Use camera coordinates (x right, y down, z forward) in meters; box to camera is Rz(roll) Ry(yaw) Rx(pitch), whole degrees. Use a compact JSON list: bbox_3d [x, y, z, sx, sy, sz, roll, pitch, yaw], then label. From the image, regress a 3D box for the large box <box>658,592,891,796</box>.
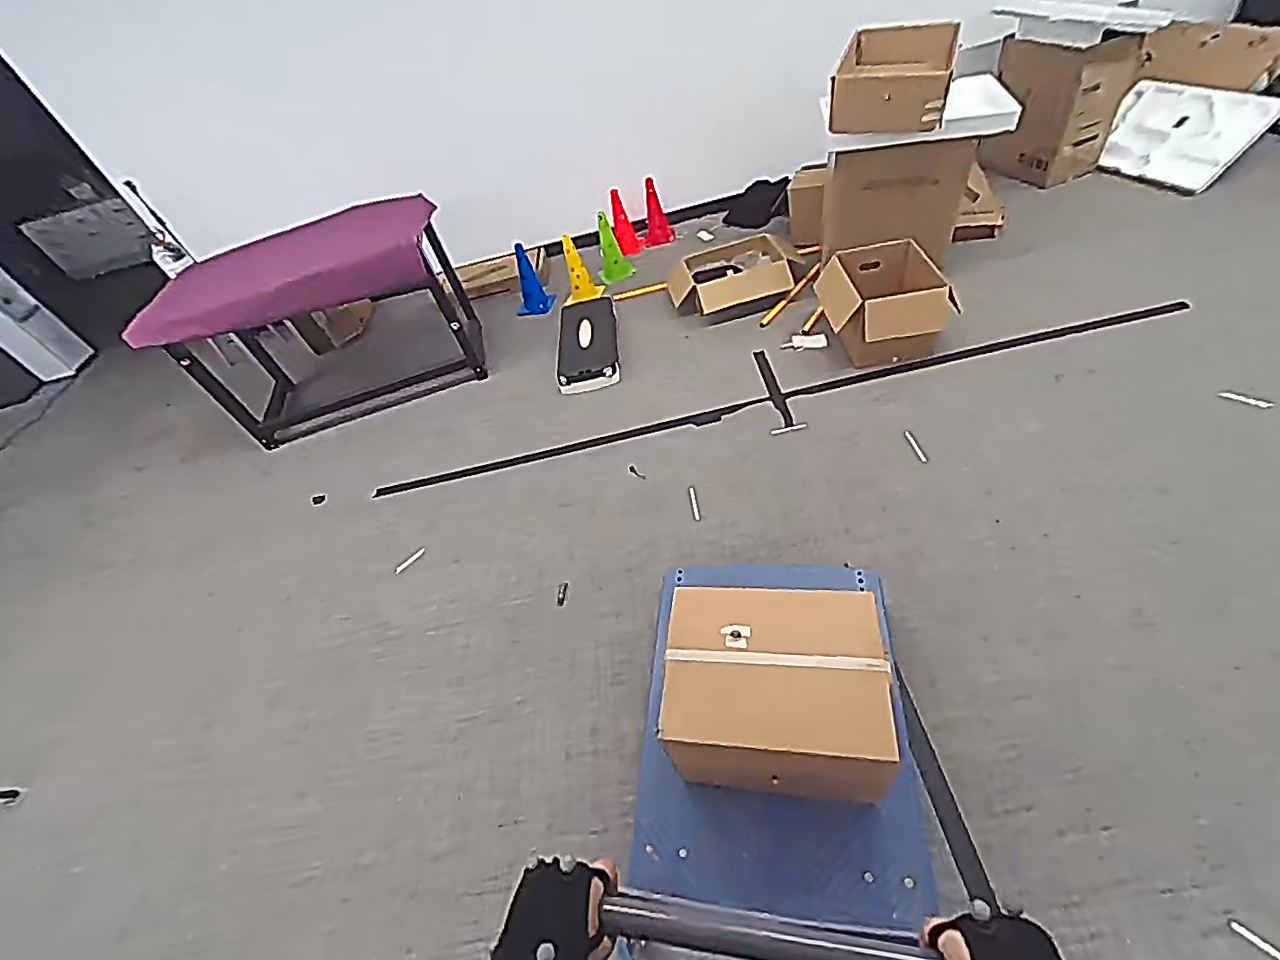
[{"bbox_3d":[0.277,0.449,1.143,0.408,0.320,0.320,-2,47,15],"label":"large box"}]
